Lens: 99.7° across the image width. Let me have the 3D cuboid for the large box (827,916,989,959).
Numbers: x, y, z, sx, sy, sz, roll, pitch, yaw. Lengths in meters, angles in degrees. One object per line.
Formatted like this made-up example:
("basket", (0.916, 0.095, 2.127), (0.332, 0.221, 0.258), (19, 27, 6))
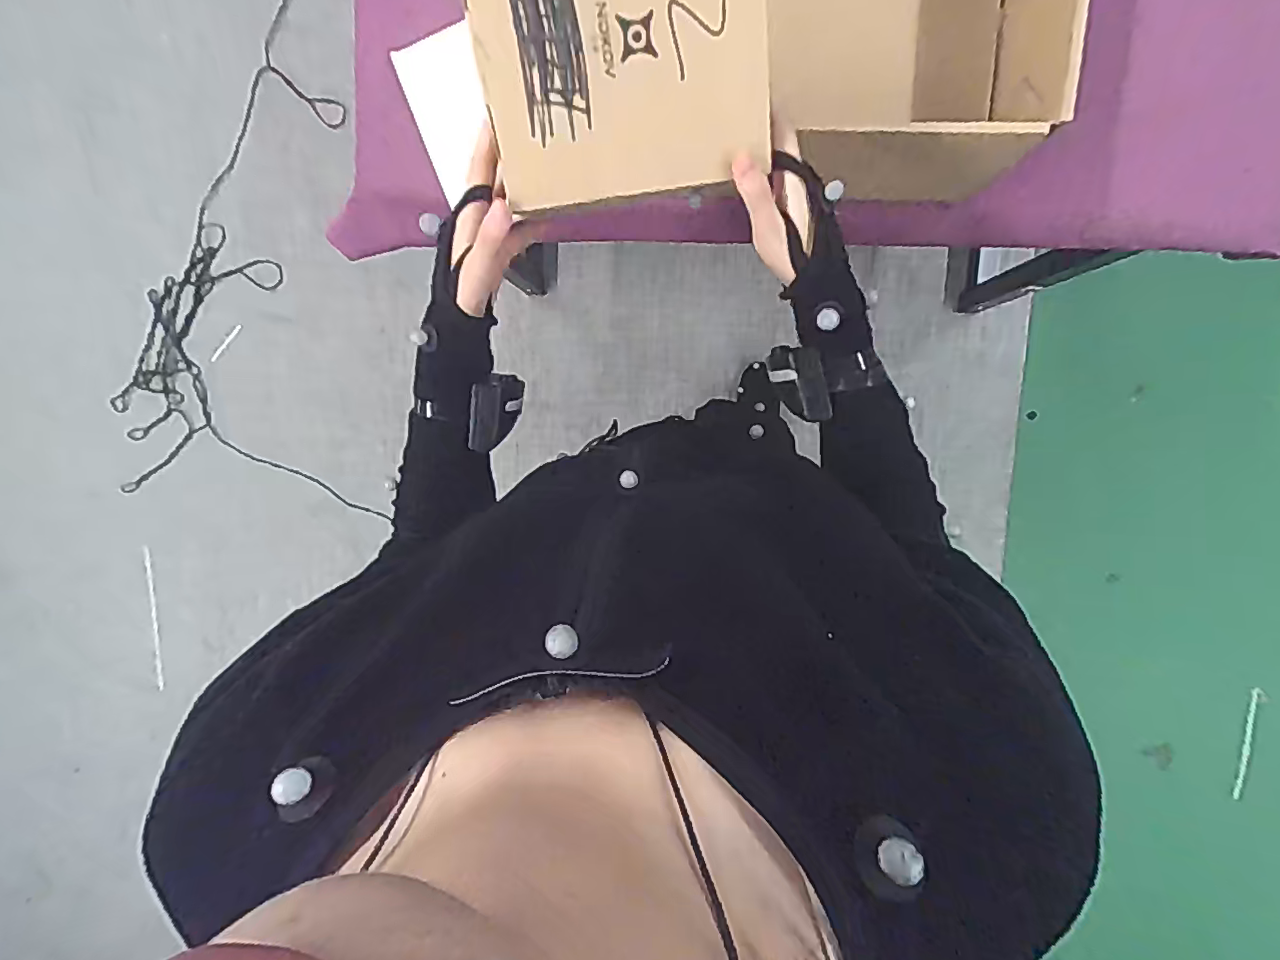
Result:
("large box", (0.765, 1.461, 1.446), (0.408, 0.320, 0.320), (-12, 96, 6))
